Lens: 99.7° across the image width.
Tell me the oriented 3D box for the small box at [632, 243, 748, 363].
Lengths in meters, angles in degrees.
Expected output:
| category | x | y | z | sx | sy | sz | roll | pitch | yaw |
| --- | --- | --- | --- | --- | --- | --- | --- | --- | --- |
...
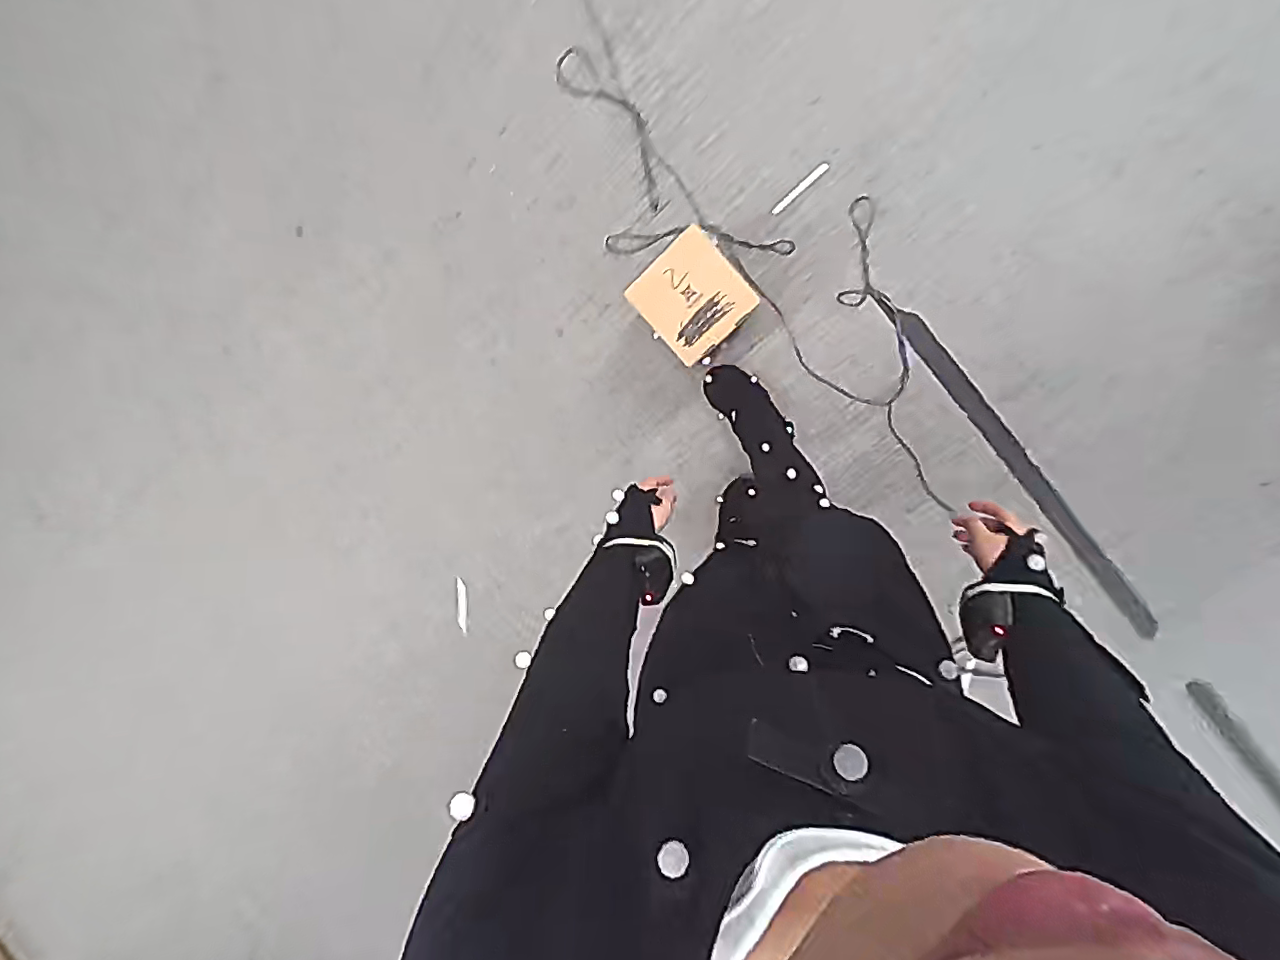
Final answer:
| category | x | y | z | sx | sy | sz | roll | pitch | yaw |
| --- | --- | --- | --- | --- | --- | --- | --- | --- | --- |
| small box | 0.108 | -0.367 | 1.156 | 0.168 | 0.176 | 0.179 | -42 | 95 | 15 |
